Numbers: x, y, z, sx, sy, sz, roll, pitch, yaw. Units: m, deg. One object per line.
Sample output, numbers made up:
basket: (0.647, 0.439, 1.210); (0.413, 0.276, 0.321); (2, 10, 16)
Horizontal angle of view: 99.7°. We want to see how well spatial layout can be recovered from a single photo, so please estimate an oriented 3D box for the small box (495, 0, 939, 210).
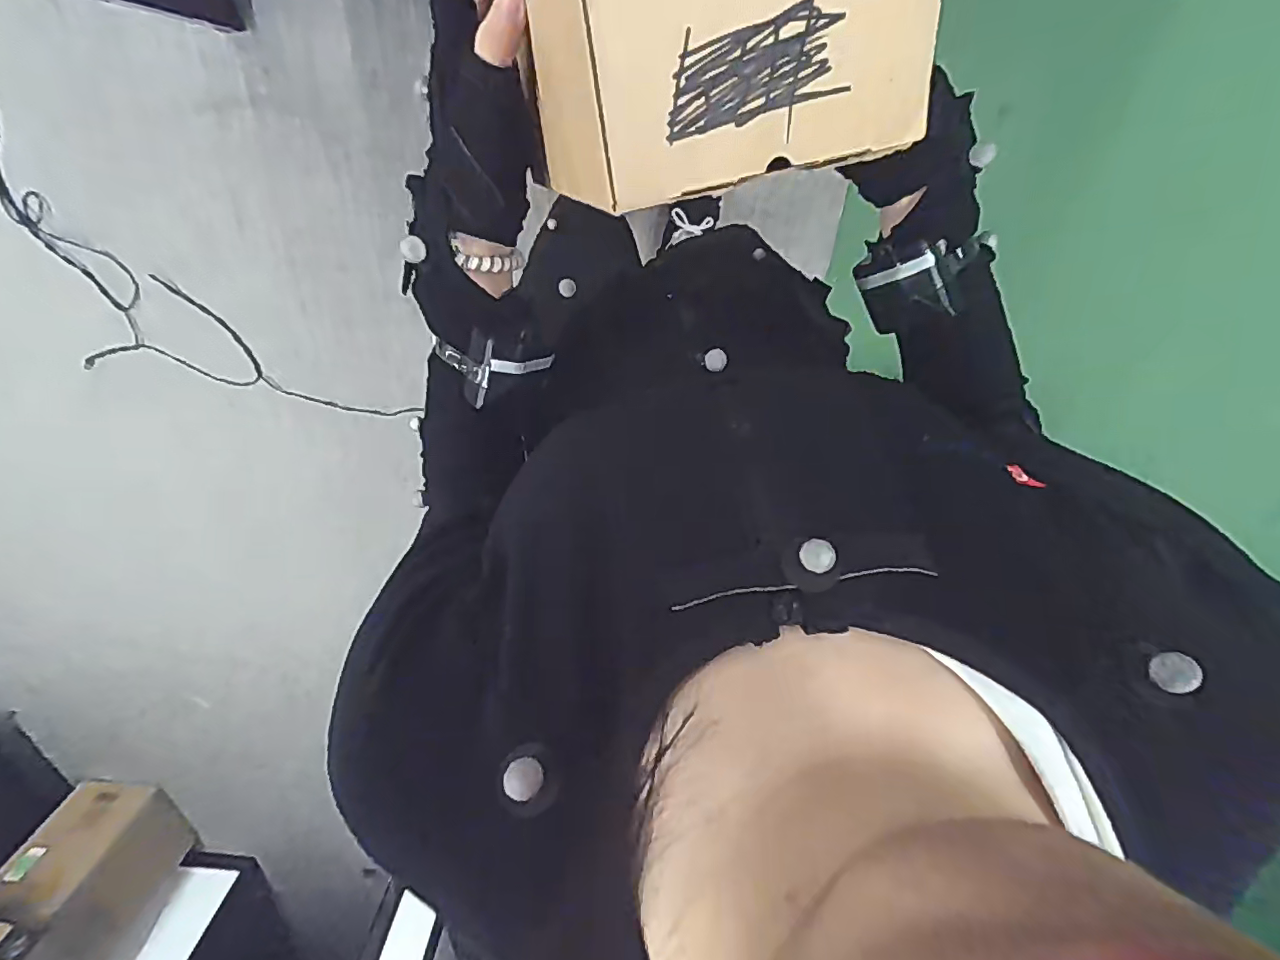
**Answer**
small box: (0.023, -0.253, 0.266); (0.168, 0.176, 0.179); (-20, 127, -13)
